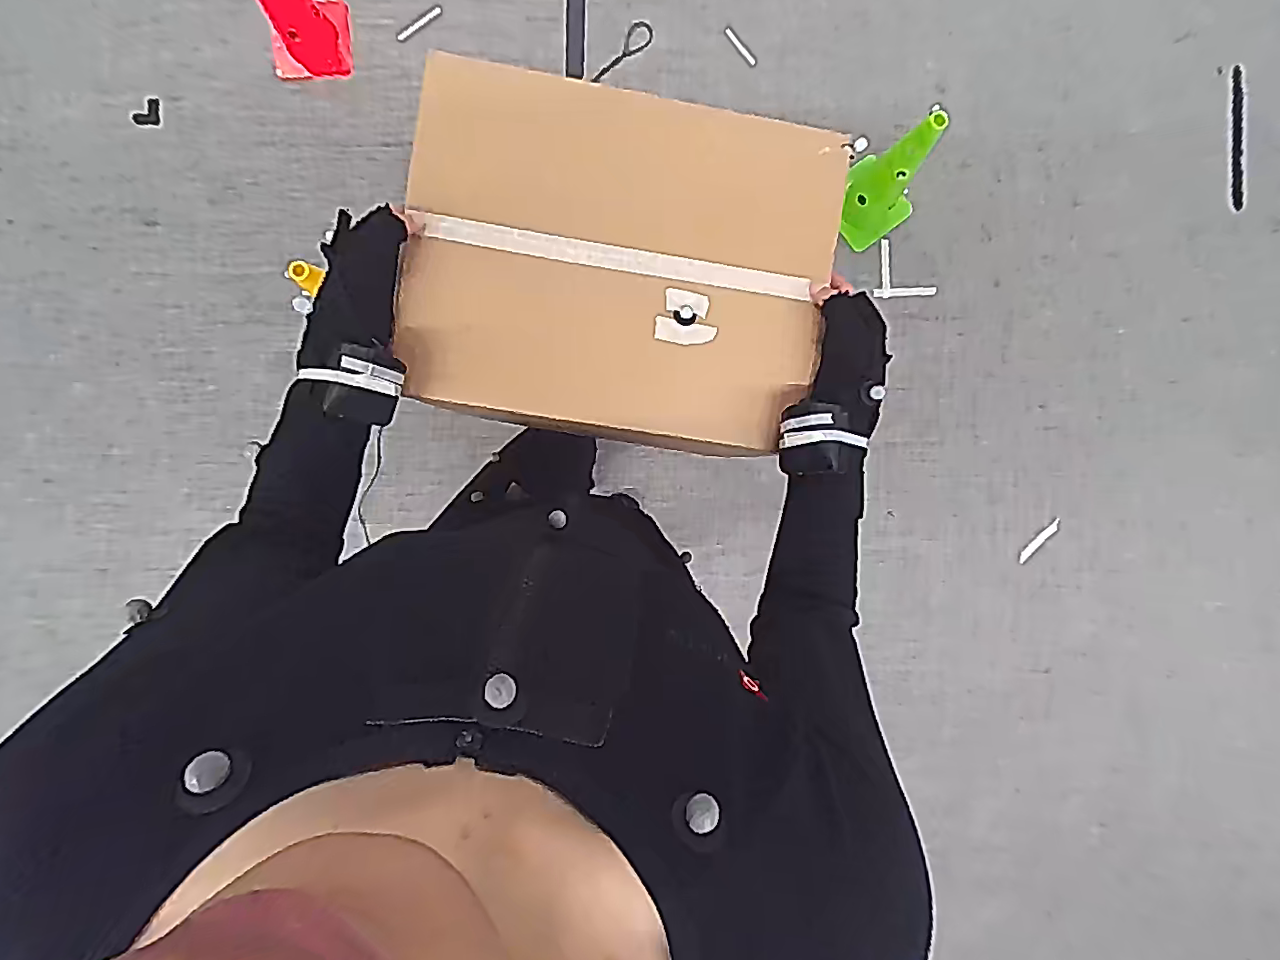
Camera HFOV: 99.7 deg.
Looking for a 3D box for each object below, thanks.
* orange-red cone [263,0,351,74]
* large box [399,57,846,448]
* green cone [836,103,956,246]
[{"bbox_3d":[-0.859,-1.162,1.250,0.198,0.360,0.199,-2,93,0],"label":"orange-red cone"},{"bbox_3d":[-0.025,-0.220,0.664,0.408,0.320,0.320,8,92,-5],"label":"large box"},{"bbox_3d":[0.624,-0.759,1.294,0.202,0.368,0.200,-38,93,-2],"label":"green cone"}]
